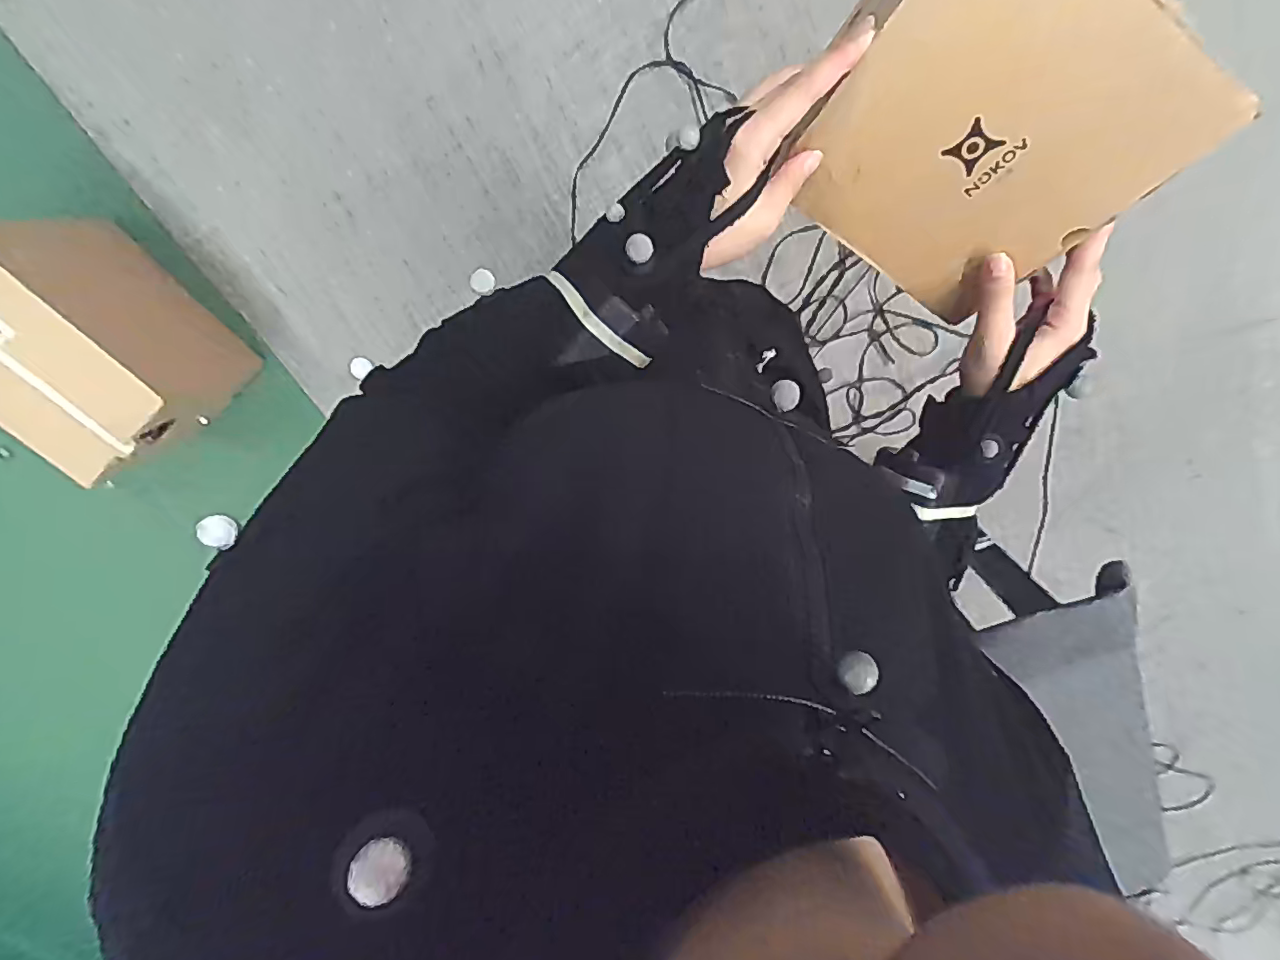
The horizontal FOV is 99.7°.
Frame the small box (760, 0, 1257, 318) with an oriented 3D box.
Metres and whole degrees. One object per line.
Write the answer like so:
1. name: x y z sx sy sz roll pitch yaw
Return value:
1. small box: 0.204 -0.248 0.341 0.179 0.176 0.168 29 145 -14
